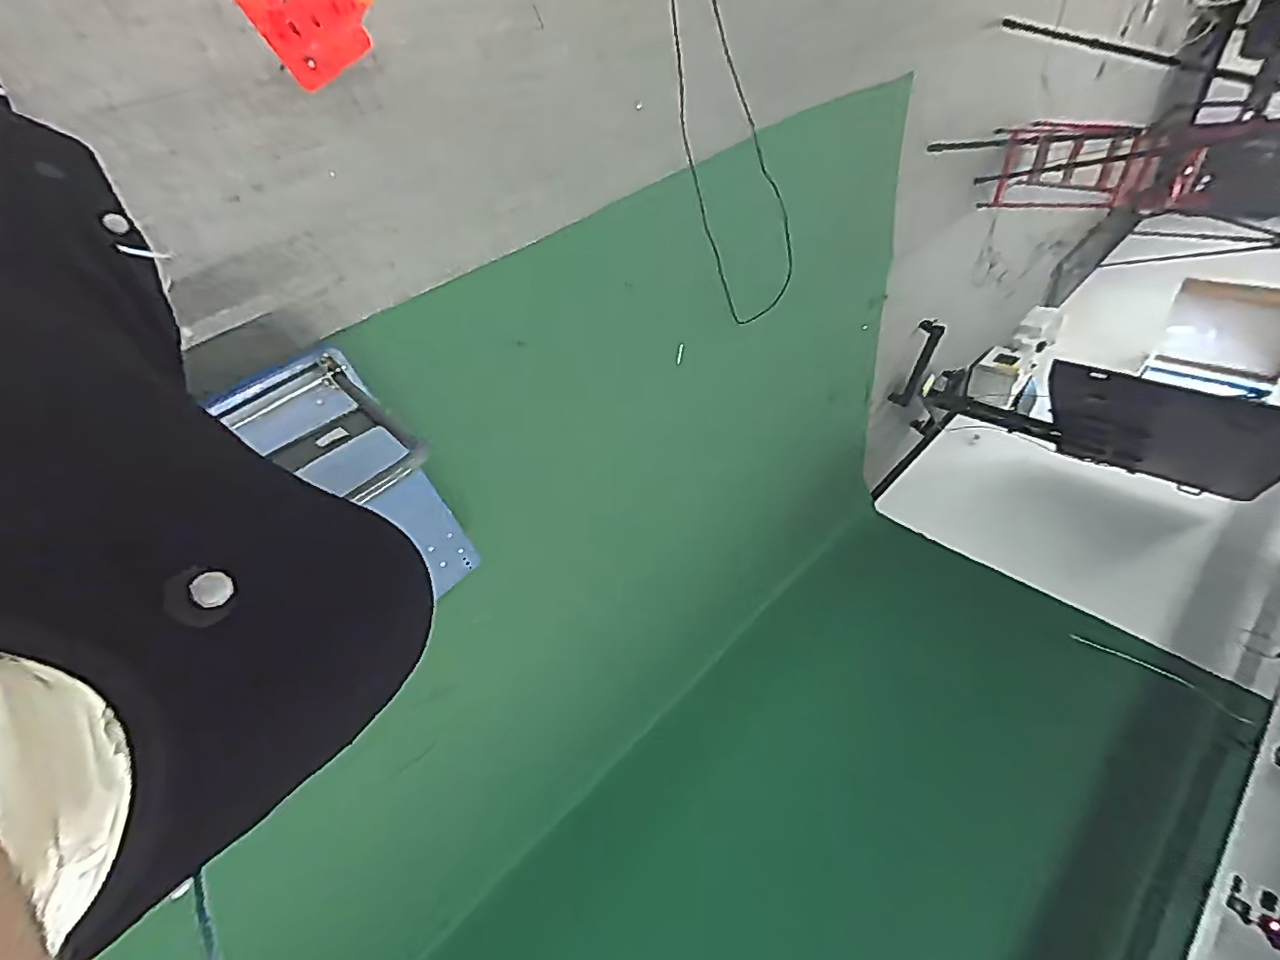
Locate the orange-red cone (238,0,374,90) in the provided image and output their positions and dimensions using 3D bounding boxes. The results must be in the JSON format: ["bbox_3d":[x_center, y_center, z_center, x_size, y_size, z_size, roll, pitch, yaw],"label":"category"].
[{"bbox_3d":[-0.596,-0.912,1.044,0.199,0.360,0.198,-49,141,-14],"label":"orange-red cone"}]
